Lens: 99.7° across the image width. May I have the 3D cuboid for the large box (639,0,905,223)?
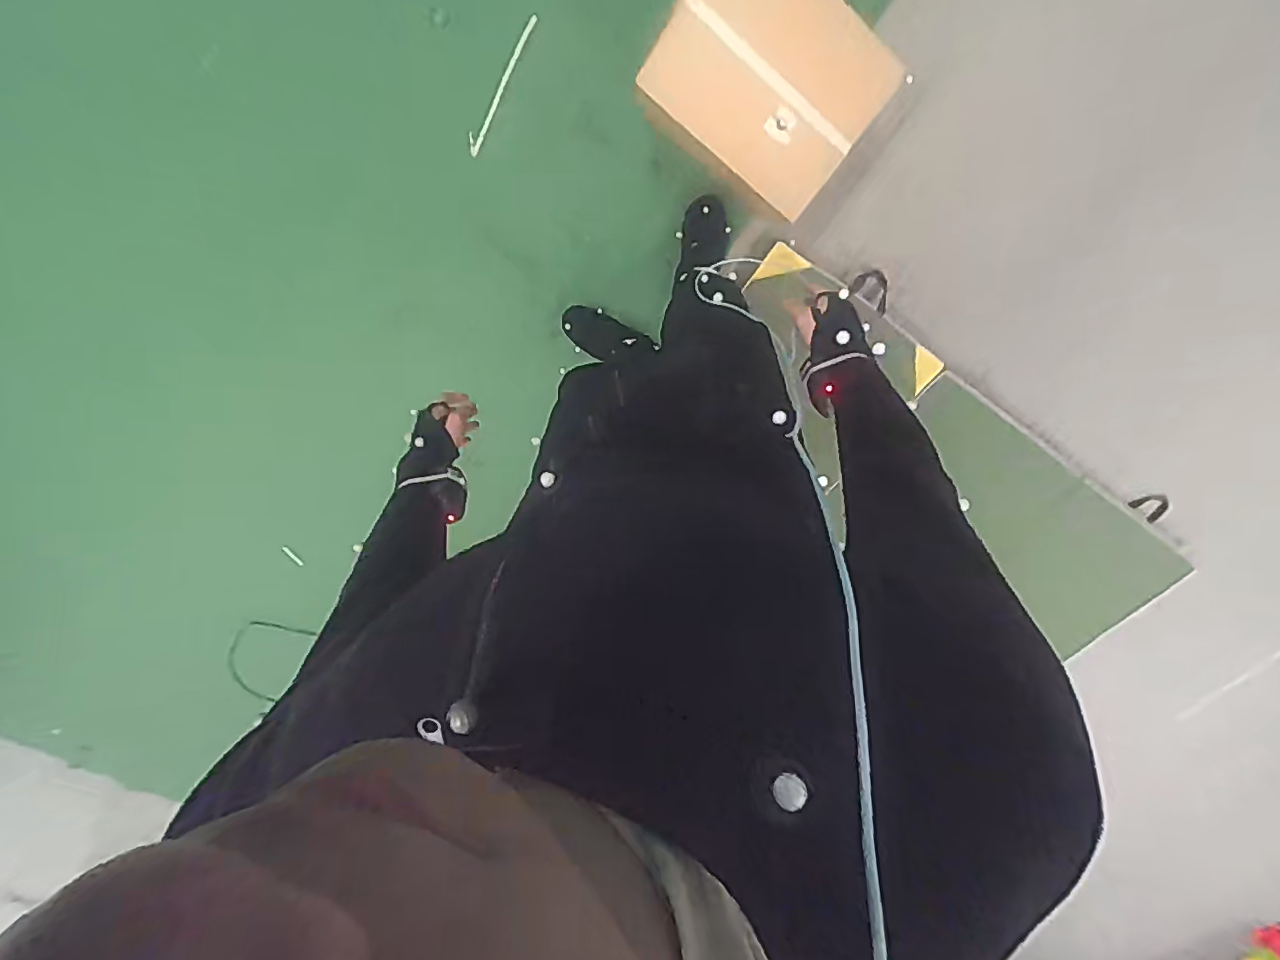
[{"bbox_3d":[0.243,-0.804,1.135,0.408,0.320,0.320,33,114,-15],"label":"large box"}]
